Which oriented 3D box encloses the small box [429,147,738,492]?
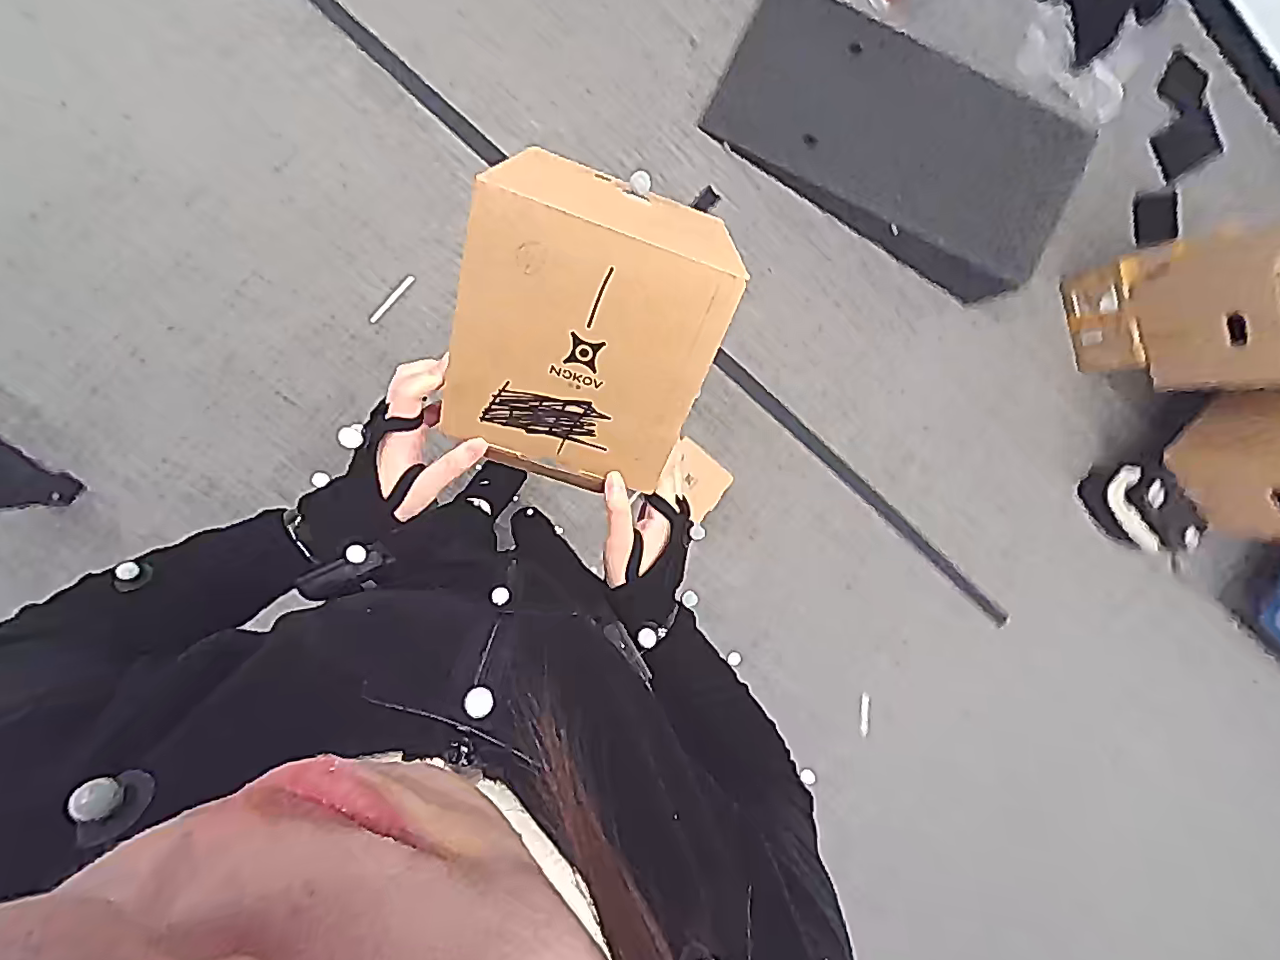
[{"bbox_3d":[-0.043,-0.125,0.411,0.168,0.176,0.179,16,124,-10],"label":"small box"}]

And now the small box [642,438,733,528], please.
[{"bbox_3d":[0.109,0.001,1.437,0.179,0.176,0.168,40,86,-12],"label":"small box"}]
